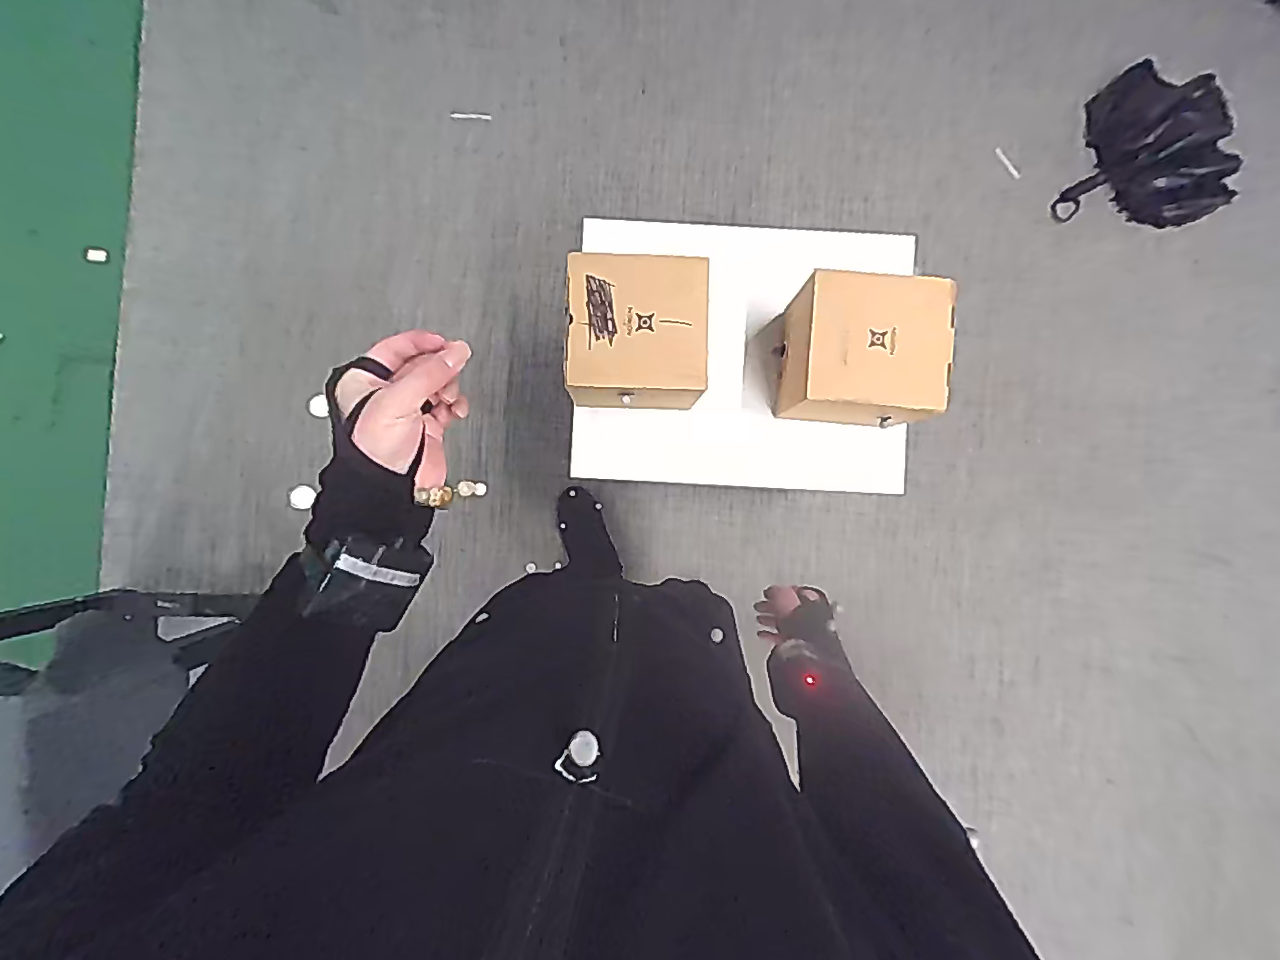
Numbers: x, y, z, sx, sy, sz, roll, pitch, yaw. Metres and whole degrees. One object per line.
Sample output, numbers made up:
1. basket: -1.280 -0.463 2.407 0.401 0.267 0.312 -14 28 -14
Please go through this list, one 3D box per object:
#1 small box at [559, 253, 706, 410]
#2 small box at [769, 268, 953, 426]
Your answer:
1. small box: -0.010 -0.189 0.731 0.179 0.176 0.168 1 89 -2
2. small box: 0.288 -0.168 0.735 0.179 0.176 0.168 5 88 1
